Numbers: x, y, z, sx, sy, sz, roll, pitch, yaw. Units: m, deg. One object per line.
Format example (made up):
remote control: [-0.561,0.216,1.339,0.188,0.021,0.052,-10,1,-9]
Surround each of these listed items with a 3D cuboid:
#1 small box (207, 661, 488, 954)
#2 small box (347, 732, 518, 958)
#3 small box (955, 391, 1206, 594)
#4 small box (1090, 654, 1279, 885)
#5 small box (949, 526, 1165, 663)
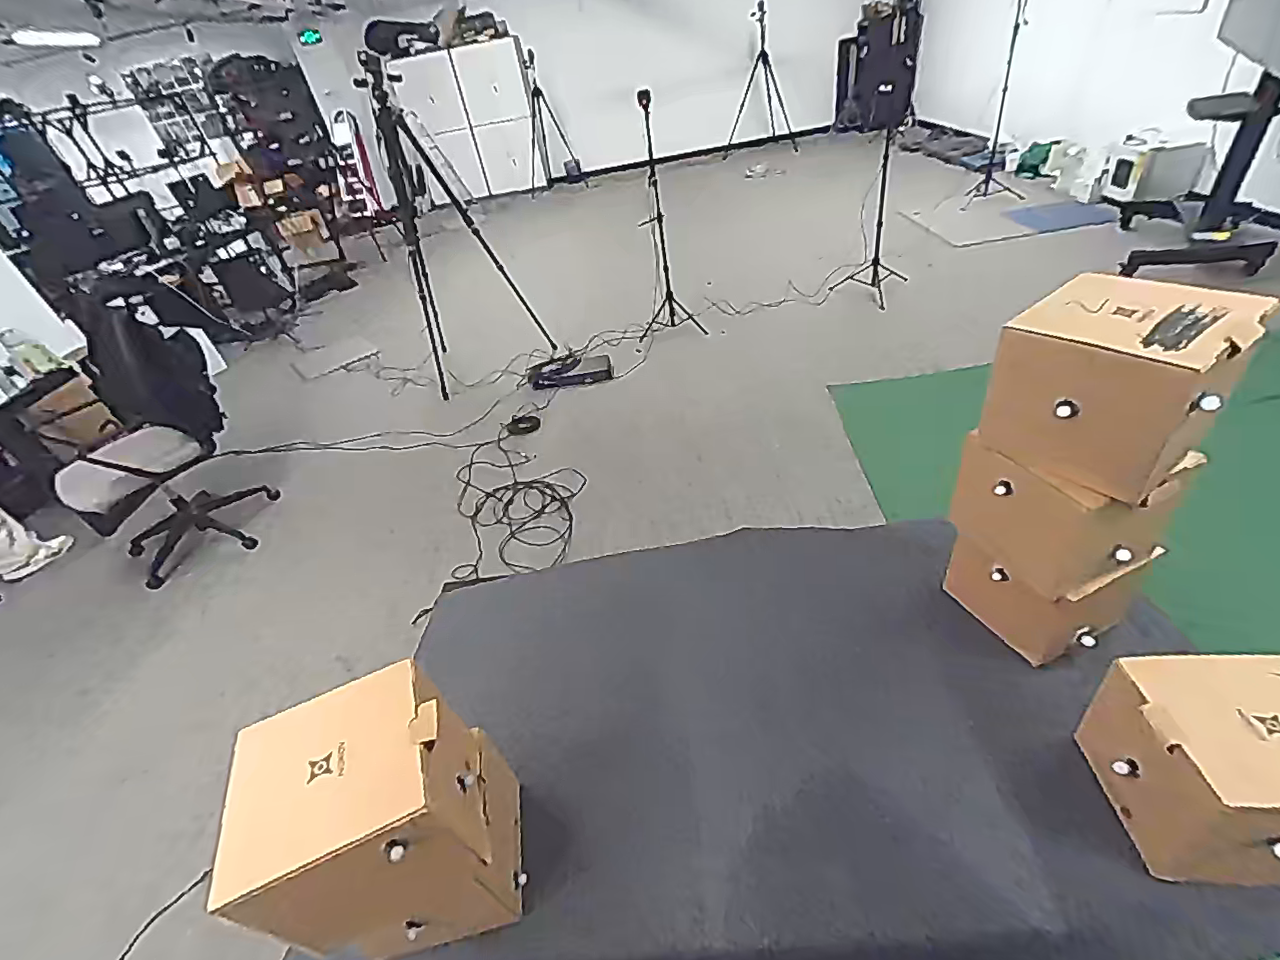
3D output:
small box: [-0.276,0.327,0.546,0.179,0.176,0.168,-22,40,-13]
small box: [-0.252,0.443,0.659,0.179,0.176,0.168,-15,39,-3]
small box: [0.551,0.015,0.711,0.168,0.176,0.179,-22,39,-6]
small box: [0.631,0.309,0.582,0.179,0.176,0.168,-5,35,11]
small box: [0.603,0.136,0.812,0.168,0.176,0.179,-24,41,-10]
